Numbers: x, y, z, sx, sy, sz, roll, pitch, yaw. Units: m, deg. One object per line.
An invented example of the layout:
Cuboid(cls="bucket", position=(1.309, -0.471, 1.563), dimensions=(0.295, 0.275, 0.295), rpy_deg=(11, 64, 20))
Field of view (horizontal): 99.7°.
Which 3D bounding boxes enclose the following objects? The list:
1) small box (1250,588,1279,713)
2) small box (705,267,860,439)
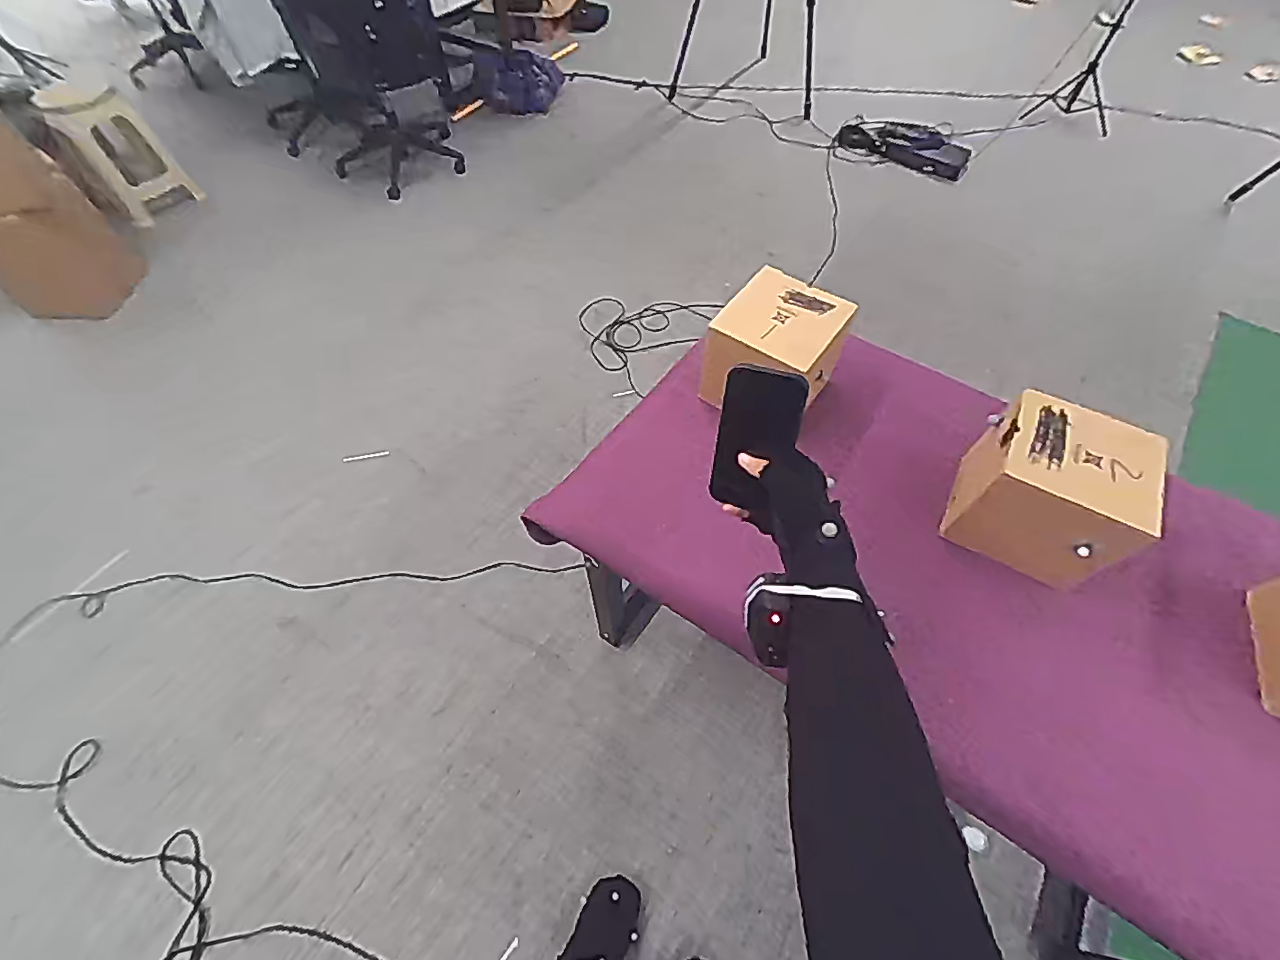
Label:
Cuboid(cls="small box", position=(0.869, 0.213, 0.614), dimensions=(0.168, 0.176, 0.179), rpy_deg=(22, 59, 14))
Cuboid(cls="small box", position=(0.219, -0.202, 0.876), dimensions=(0.168, 0.176, 0.179), rpy_deg=(33, 64, 19))
